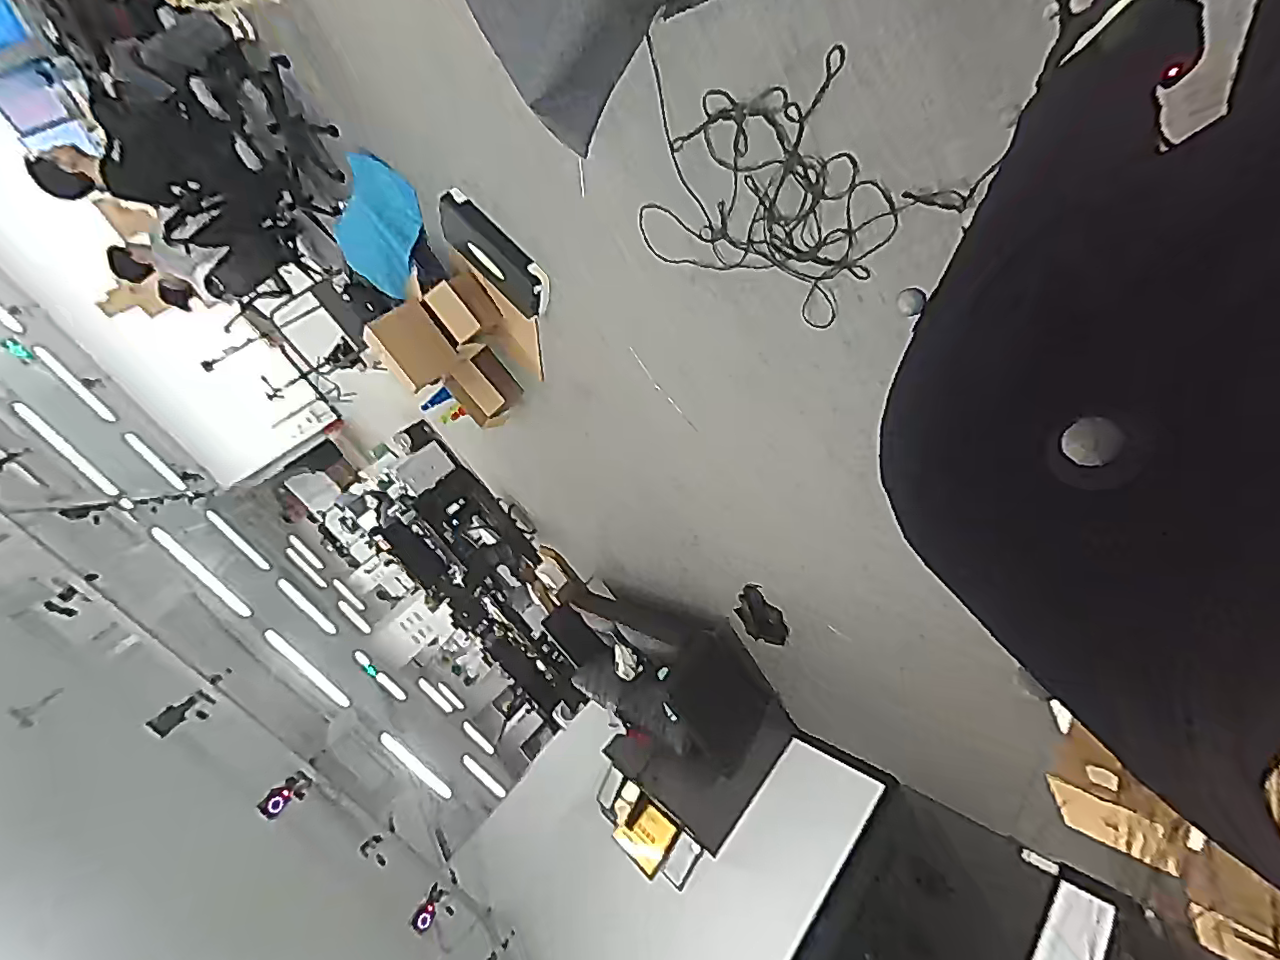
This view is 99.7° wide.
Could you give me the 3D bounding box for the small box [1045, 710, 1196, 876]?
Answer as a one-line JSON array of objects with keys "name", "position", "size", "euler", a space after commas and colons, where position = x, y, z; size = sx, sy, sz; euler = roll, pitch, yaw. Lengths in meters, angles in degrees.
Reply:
[{"name": "small box", "position": [0.909, 0.579, 1.020], "size": [0.168, 0.176, 0.179], "euler": [4, 132, 57]}]
